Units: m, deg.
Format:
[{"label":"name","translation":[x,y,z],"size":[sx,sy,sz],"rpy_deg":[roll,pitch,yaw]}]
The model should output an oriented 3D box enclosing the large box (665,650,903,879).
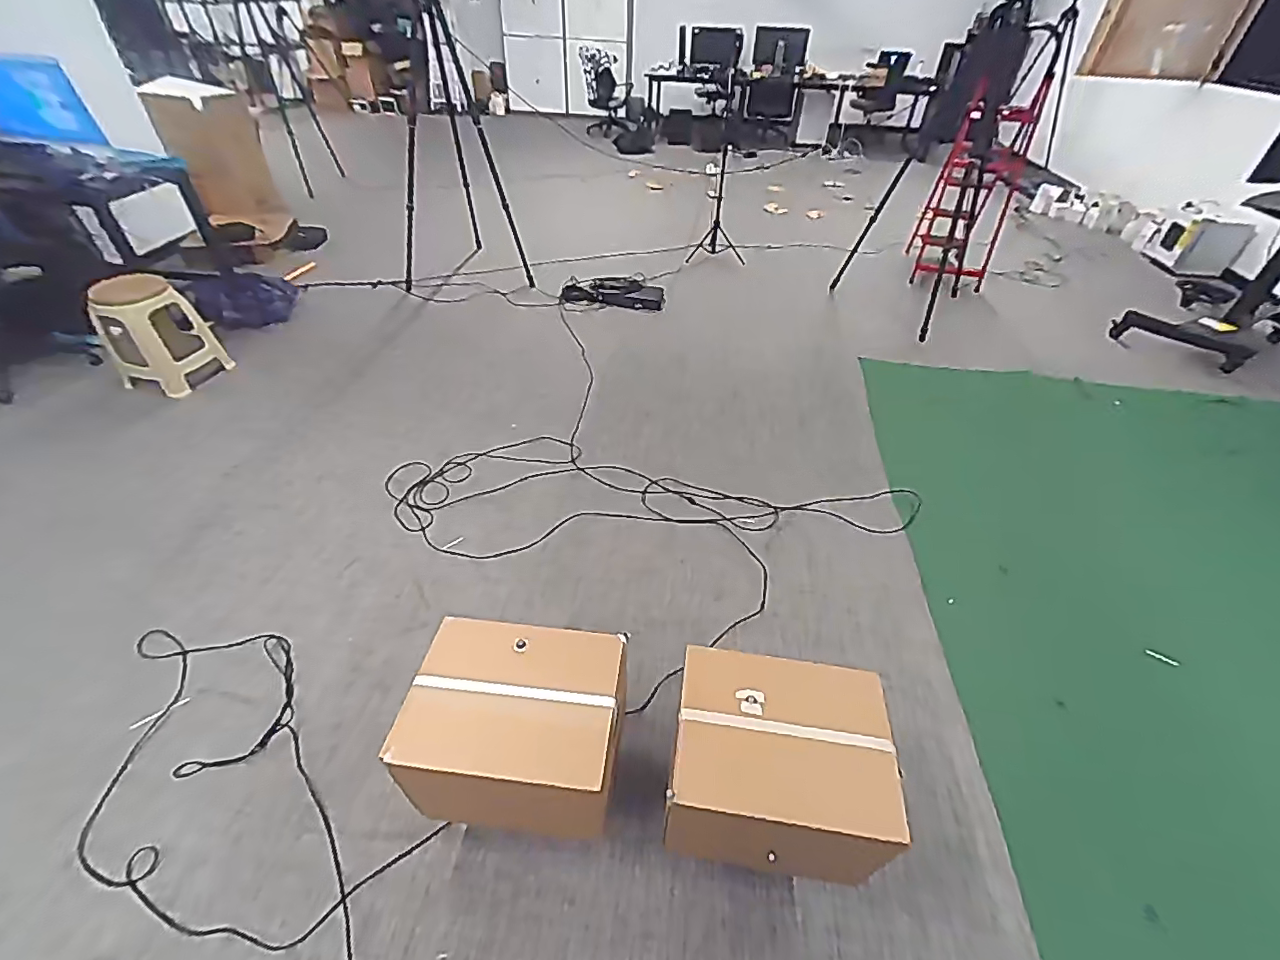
[{"label":"large box","translation":[0.273,0.600,1.143],"size":[0.408,0.320,0.320],"rpy_deg":[7,42,6]}]
